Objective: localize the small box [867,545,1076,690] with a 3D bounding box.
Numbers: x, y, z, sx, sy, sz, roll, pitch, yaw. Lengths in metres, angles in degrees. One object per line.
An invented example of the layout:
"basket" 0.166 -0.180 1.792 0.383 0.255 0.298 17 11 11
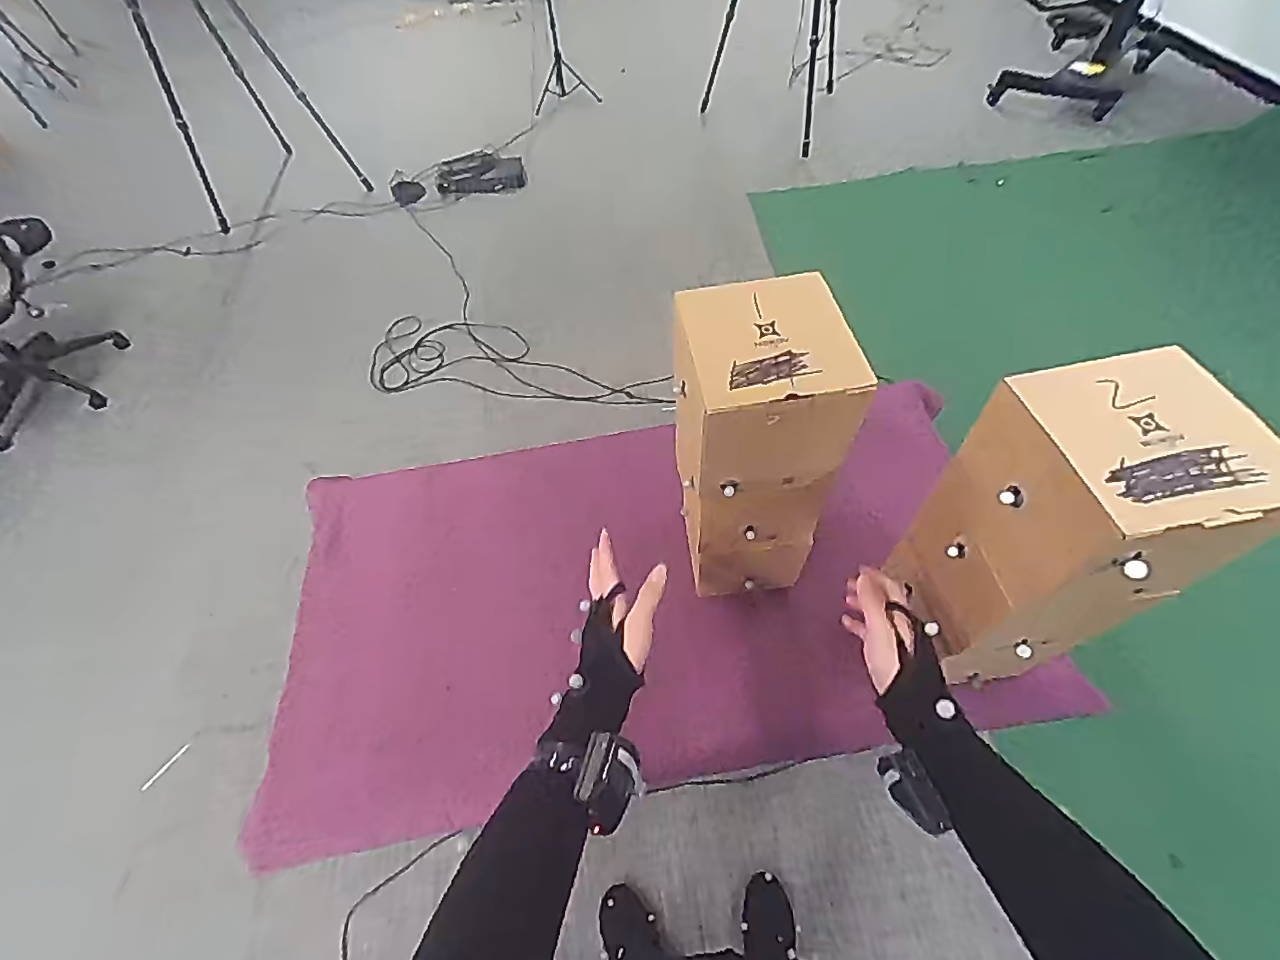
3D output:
"small box" 0.462 0.197 0.789 0.179 0.176 0.168 -6 55 0

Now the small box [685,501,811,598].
"small box" 0.165 0.077 0.892 0.168 0.176 0.179 -6 56 1

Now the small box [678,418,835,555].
"small box" 0.147 -0.015 0.760 0.168 0.176 0.179 -9 58 -2

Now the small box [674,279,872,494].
"small box" 0.134 -0.097 0.617 0.168 0.176 0.179 -8 56 -2

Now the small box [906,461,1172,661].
"small box" 0.452 0.102 0.656 0.168 0.176 0.179 -7 56 1
